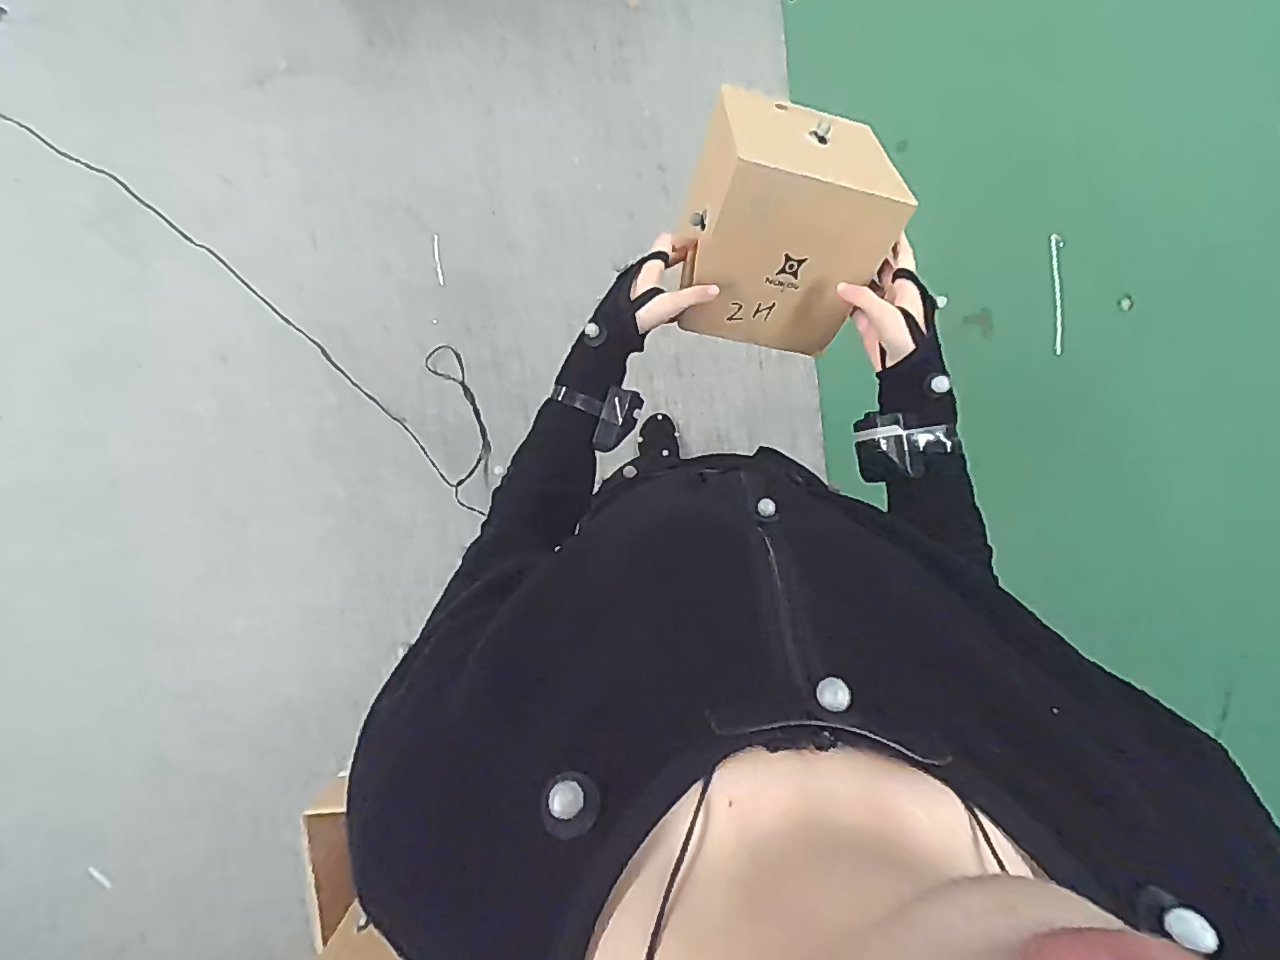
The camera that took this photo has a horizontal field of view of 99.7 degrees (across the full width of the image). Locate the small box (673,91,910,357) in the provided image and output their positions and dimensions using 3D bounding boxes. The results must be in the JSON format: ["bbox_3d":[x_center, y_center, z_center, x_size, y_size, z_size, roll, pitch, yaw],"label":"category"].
[{"bbox_3d":[0.133,-0.261,0.558,0.168,0.179,0.176,9,53,-10],"label":"small box"}]
